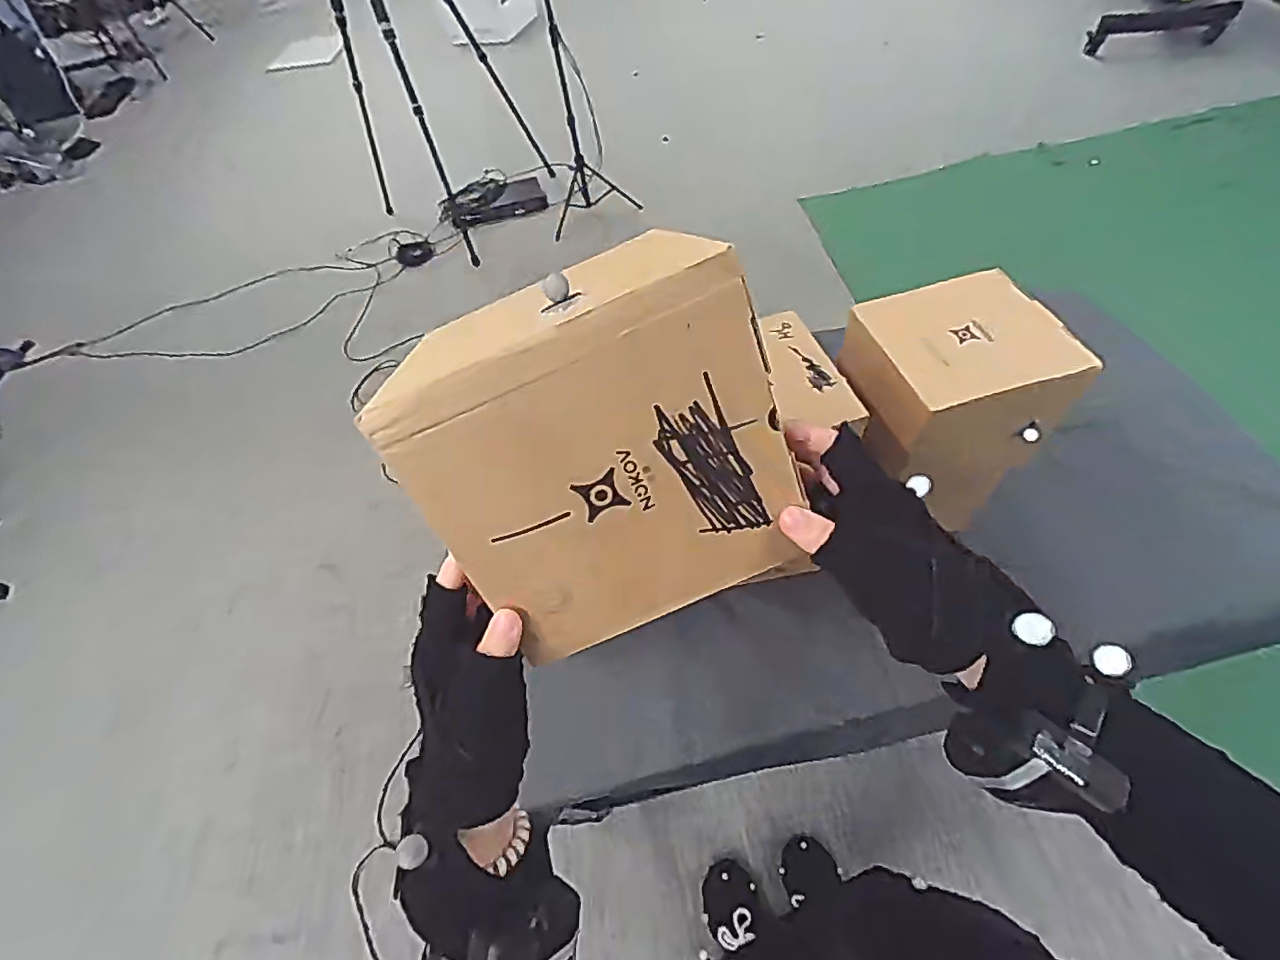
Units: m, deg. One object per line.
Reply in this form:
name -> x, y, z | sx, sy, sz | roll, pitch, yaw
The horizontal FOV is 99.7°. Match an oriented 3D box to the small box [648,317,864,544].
small box -> 0.123, -0.049, 0.620 | 0.179, 0.176, 0.168 | -18, 56, -3
